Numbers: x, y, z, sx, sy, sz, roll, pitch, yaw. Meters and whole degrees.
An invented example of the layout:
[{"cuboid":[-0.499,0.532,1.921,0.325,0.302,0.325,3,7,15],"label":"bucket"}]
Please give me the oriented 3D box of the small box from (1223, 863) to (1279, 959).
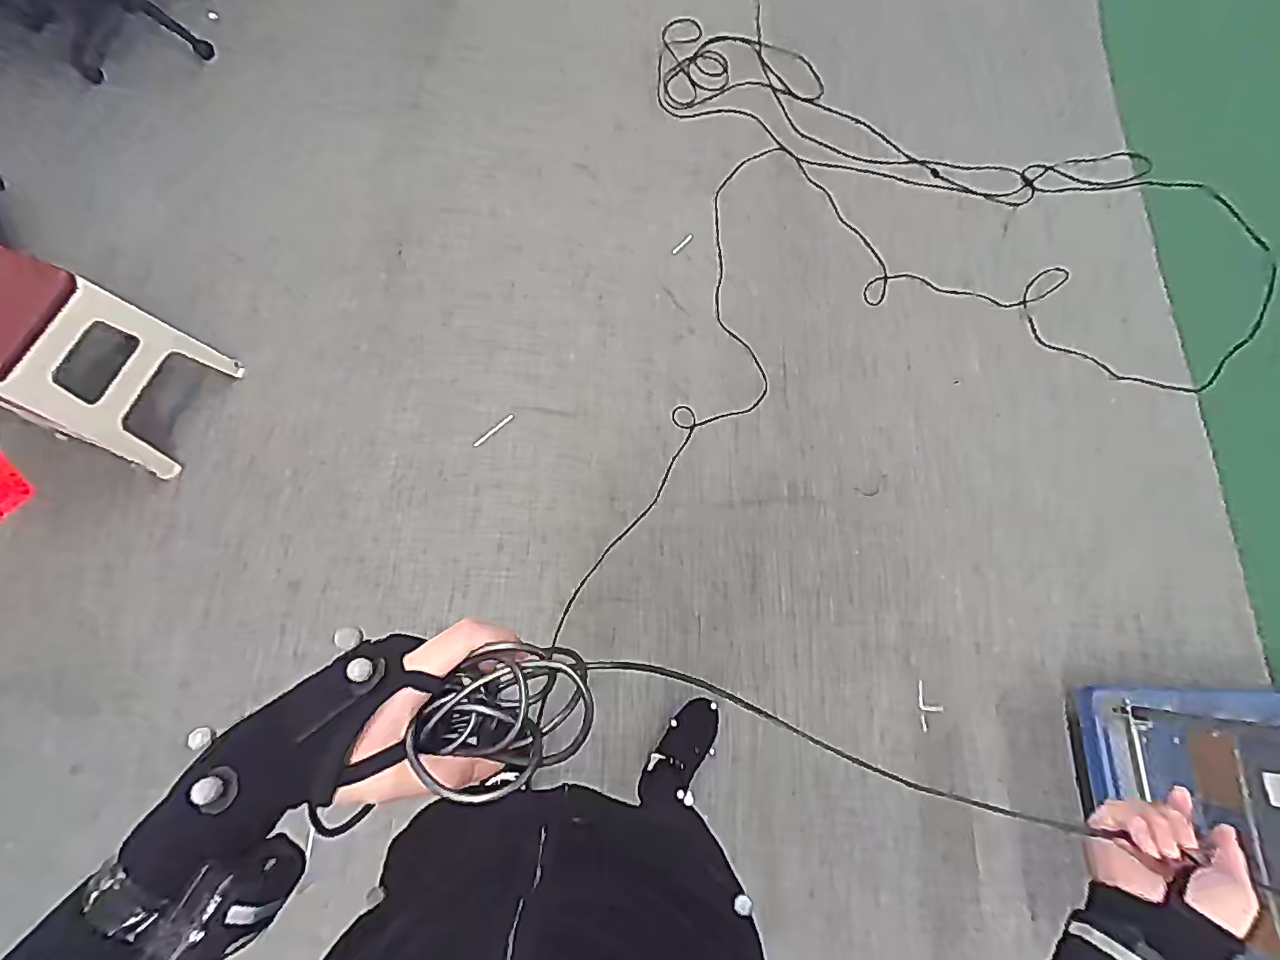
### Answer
[{"cuboid":[1.365,0.904,1.094,0.179,0.176,0.168,3,73,0],"label":"small box"}]
